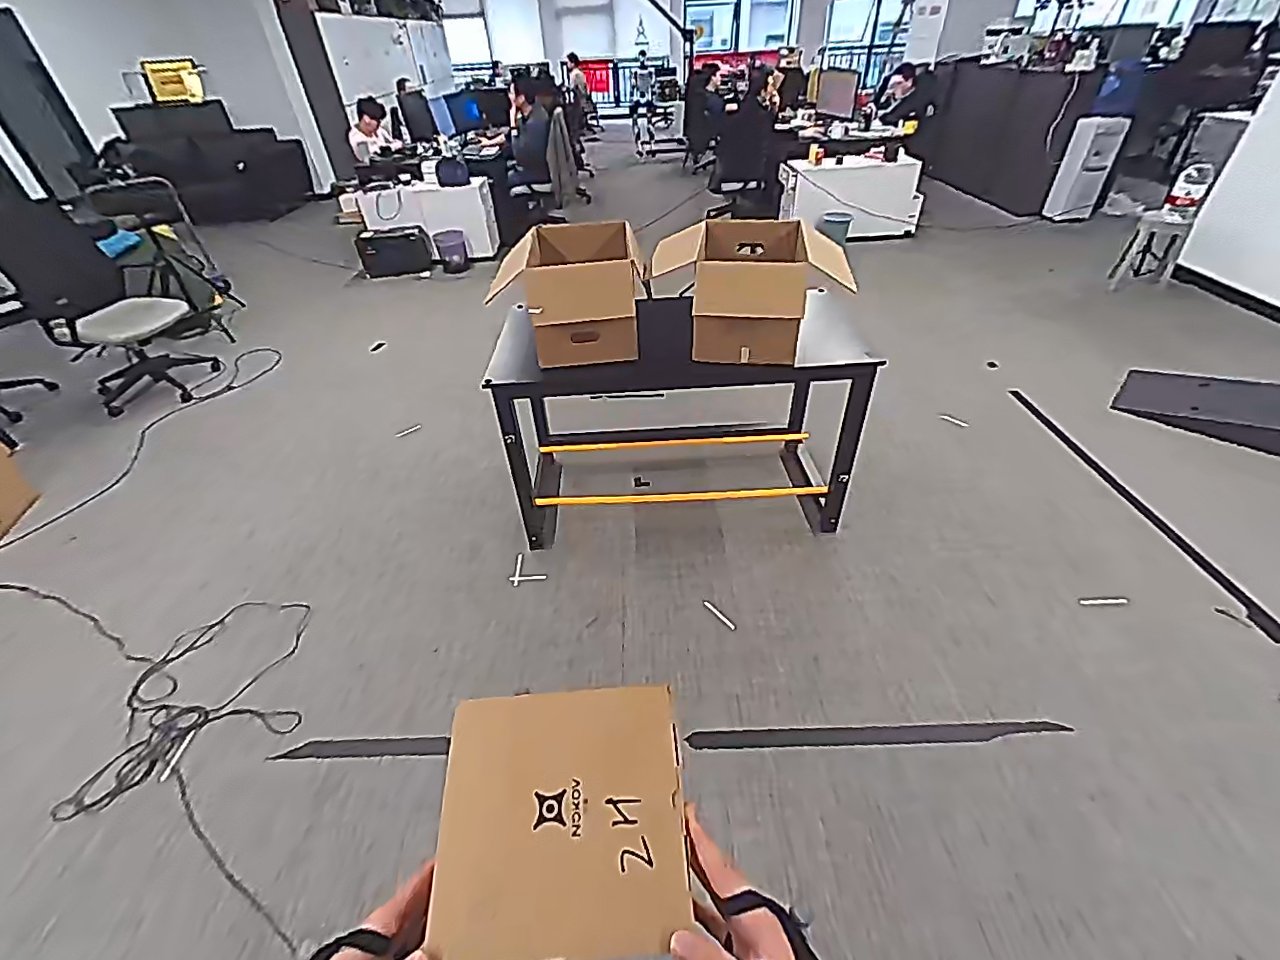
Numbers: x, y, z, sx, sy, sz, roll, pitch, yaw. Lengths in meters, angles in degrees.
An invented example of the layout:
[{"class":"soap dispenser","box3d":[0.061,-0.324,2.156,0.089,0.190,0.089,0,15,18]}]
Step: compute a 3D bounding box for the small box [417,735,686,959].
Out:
[{"class":"small box","box3d":[-0.057,0.318,0.437,0.179,0.176,0.168,-4,53,-1]}]
